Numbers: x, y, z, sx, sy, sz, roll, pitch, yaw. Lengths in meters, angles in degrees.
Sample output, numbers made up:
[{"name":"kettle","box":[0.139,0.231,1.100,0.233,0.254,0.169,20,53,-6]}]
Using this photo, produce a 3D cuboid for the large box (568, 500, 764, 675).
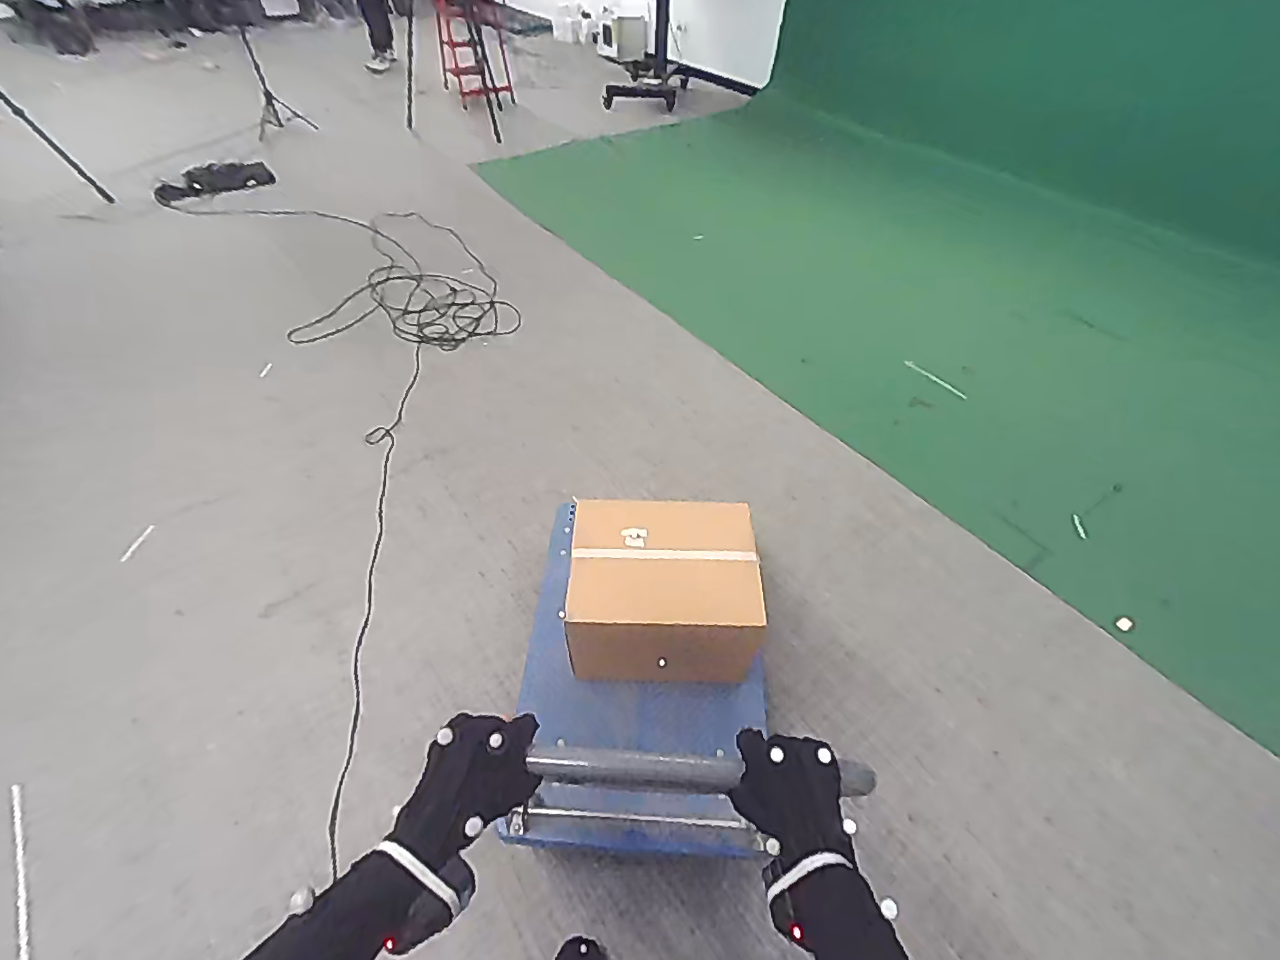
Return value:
[{"name":"large box","box":[0.051,0.263,1.296,0.408,0.320,0.320,0,49,0]}]
